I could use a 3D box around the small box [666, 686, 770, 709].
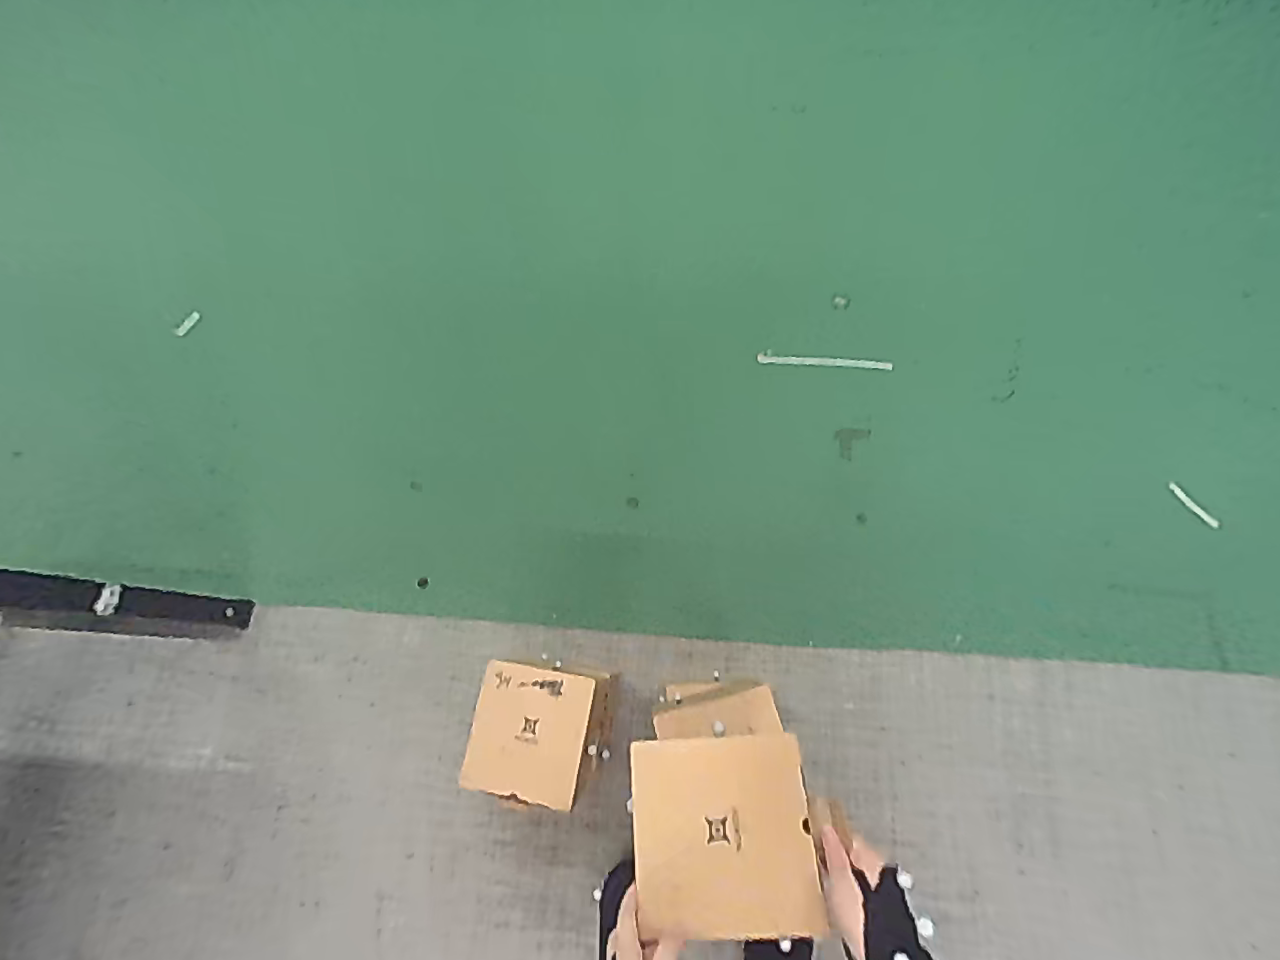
[{"bbox_3d":[0.139,0.460,0.963,0.179,0.176,0.168,-3,72,1],"label":"small box"}]

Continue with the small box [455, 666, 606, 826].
[{"bbox_3d":[-0.153,0.391,0.827,0.168,0.176,0.179,9,72,7],"label":"small box"}]

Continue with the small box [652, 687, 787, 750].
[{"bbox_3d":[0.123,0.418,0.807,0.179,0.176,0.168,-15,73,-3],"label":"small box"}]

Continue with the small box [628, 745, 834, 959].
[{"bbox_3d":[0.086,0.381,0.572,0.179,0.176,0.168,-5,60,4],"label":"small box"}]
